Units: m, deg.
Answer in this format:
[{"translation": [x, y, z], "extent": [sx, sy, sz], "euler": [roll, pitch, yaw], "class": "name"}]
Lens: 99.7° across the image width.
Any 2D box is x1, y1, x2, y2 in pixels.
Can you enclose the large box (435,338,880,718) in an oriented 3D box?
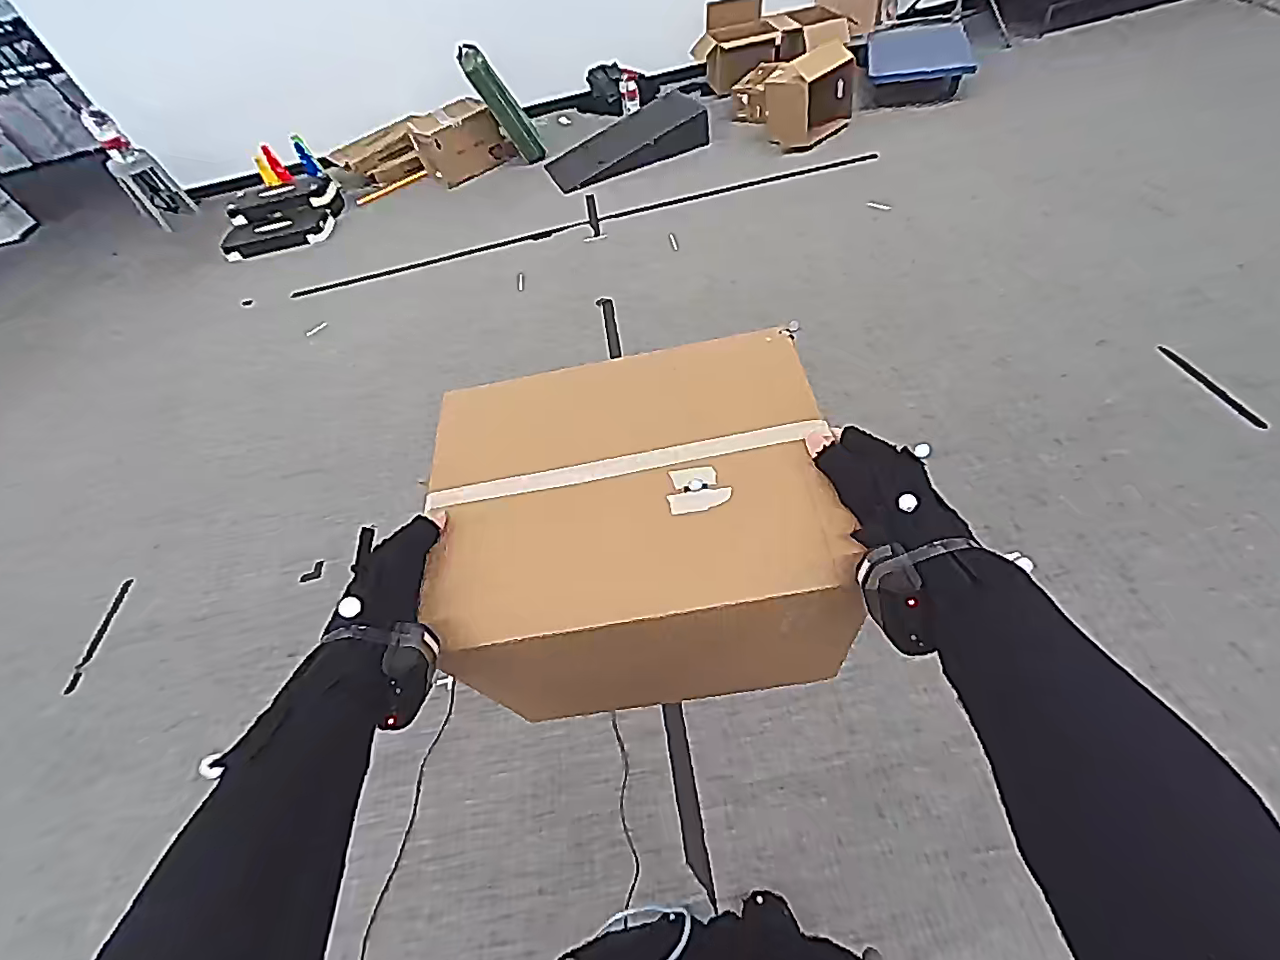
[{"translation": [0.014, 0.076, 0.672], "extent": [0.408, 0.320, 0.320], "euler": [-10, 55, 3], "class": "large box"}]
